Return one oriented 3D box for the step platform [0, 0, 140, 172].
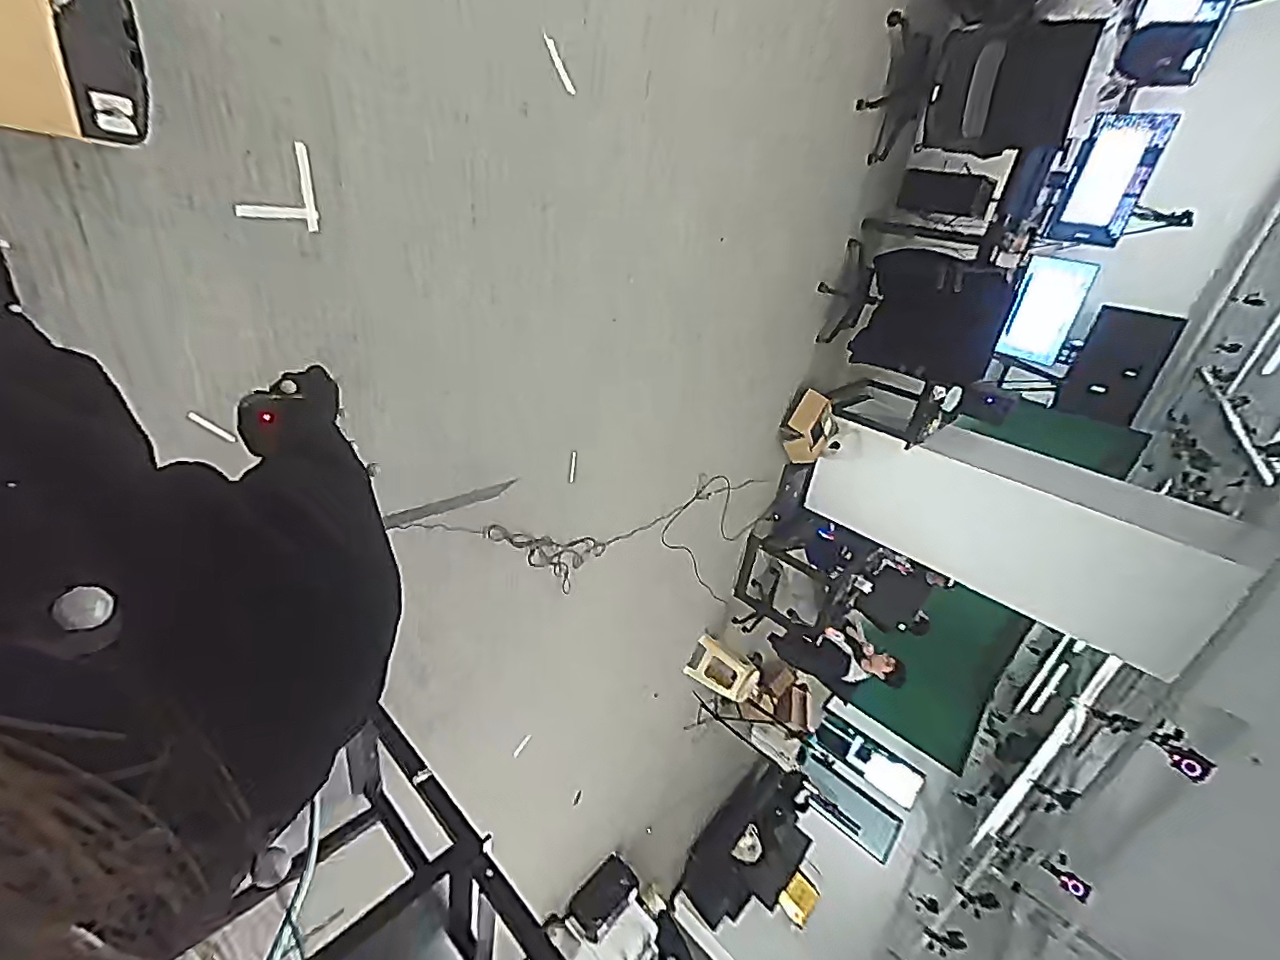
[{"bbox_3d":[-1.046,-0.600,0.628,0.684,0.204,0.286,-12,123,-47],"label":"step platform"}]
